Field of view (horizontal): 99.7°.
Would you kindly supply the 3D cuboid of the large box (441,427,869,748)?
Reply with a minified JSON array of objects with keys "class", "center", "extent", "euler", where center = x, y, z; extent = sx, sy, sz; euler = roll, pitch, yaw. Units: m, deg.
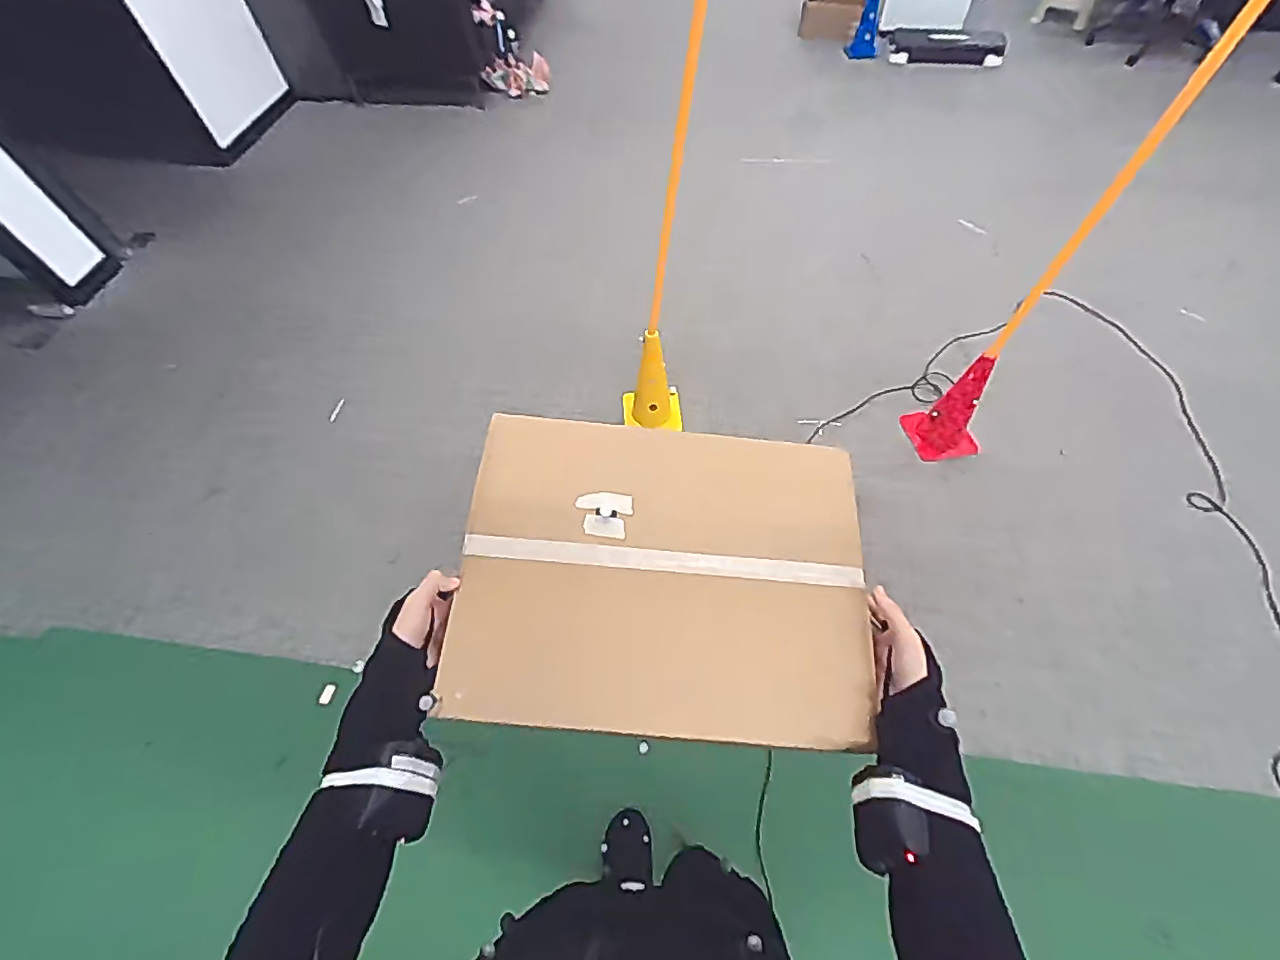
[{"class":"large box","center":[0.019,0.154,0.692],"extent":[0.408,0.320,0.320],"euler":[5,64,-1]}]
